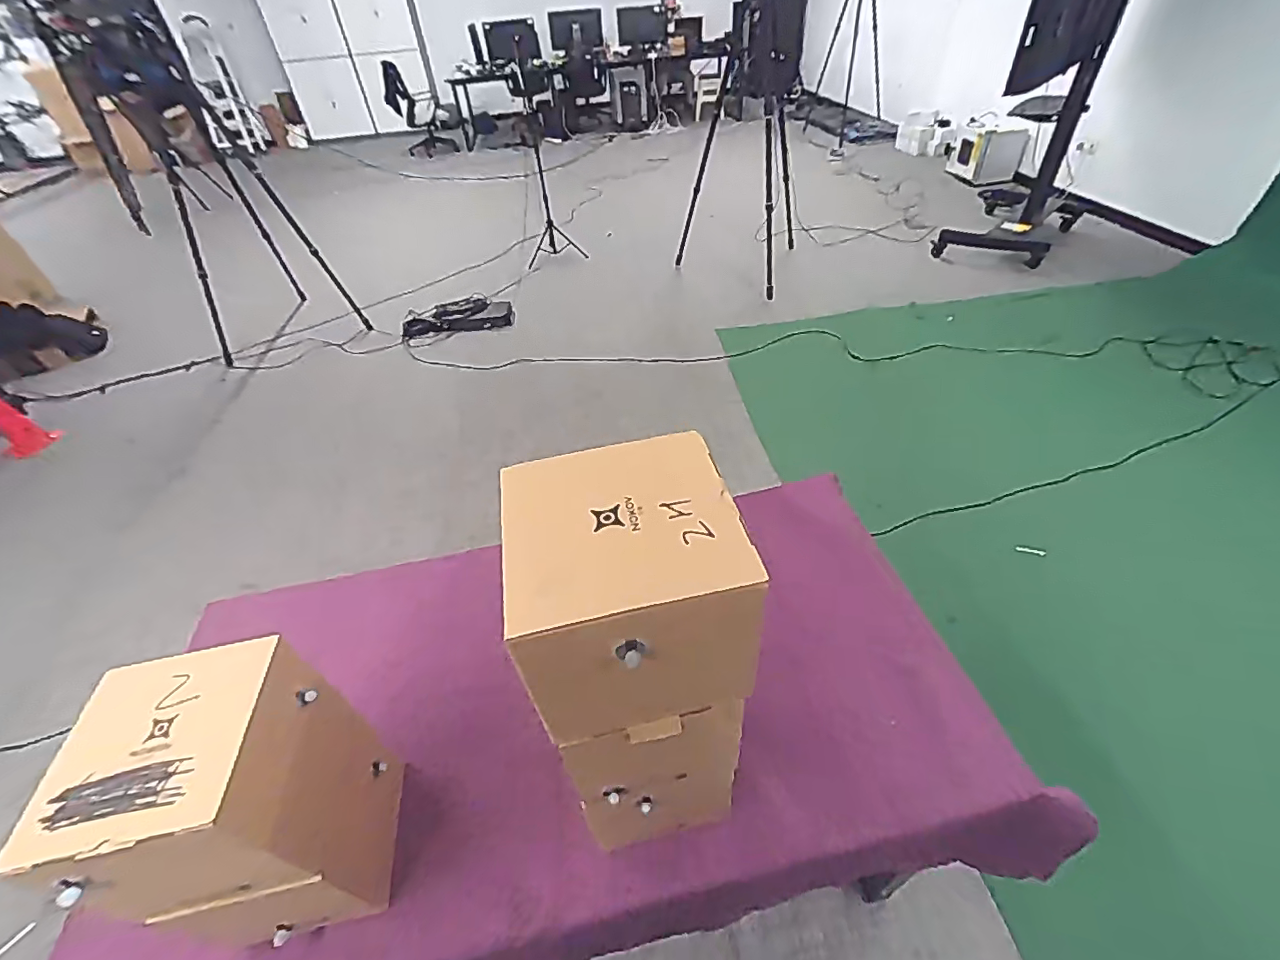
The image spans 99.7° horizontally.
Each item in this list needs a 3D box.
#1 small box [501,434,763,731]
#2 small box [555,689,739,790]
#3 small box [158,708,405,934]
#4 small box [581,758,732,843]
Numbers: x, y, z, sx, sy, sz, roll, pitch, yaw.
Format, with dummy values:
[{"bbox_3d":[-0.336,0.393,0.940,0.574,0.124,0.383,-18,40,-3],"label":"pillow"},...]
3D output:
[{"bbox_3d":[-0.010,0.089,0.458,0.179,0.176,0.168,-11,45,-5],"label":"small box"},{"bbox_3d":[0.000,0.205,0.574,0.168,0.176,0.179,-11,43,-6],"label":"small box"},{"bbox_3d":[-0.400,0.406,0.647,0.168,0.176,0.179,-11,44,-4],"label":"small box"},{"bbox_3d":[0.011,0.324,0.687,0.168,0.176,0.179,-12,43,-4],"label":"small box"}]
